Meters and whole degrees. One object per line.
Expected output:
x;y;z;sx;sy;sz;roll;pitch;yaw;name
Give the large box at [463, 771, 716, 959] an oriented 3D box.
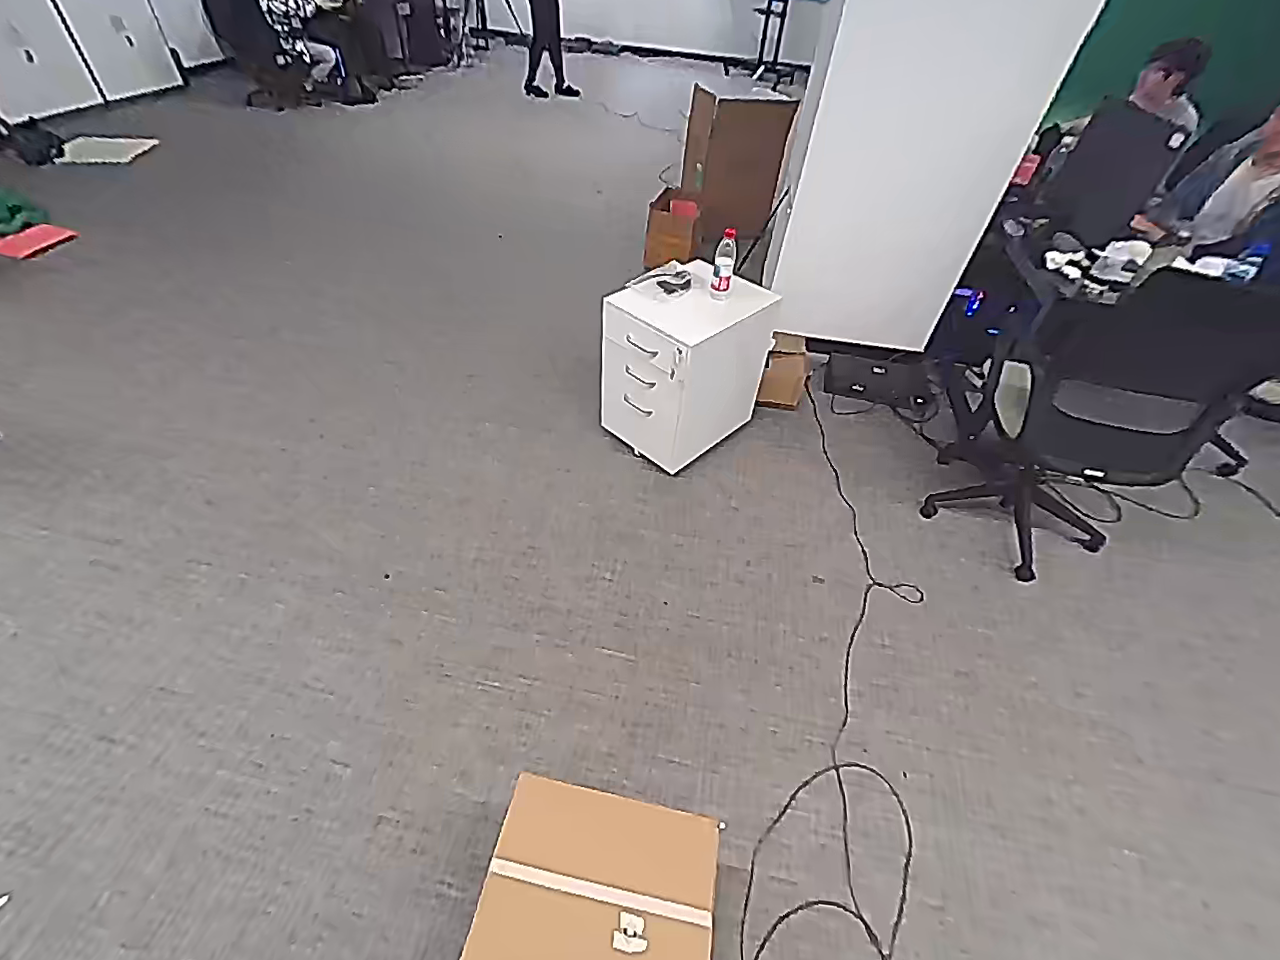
-0.085;0.829;1.070;0.408;0.320;0.320;11;46;5;large box
